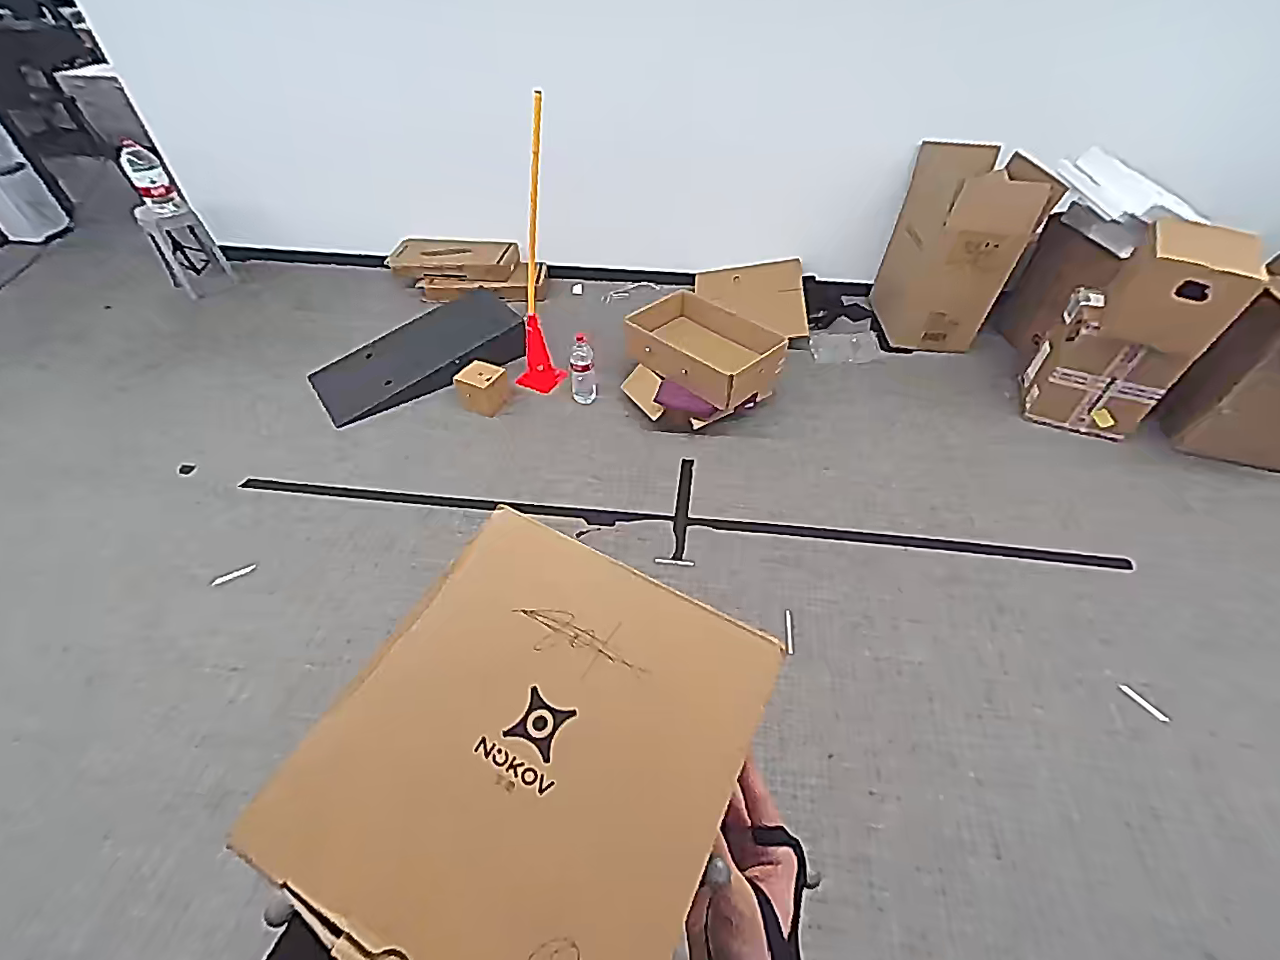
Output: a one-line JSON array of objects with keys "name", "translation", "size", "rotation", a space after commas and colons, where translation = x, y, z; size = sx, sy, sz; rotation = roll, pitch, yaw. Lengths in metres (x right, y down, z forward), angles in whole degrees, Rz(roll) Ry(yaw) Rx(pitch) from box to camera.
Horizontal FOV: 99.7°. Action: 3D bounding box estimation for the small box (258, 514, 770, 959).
[{"name": "small box", "translation": [-0.047, 0.158, 0.306], "size": [0.168, 0.176, 0.179], "rotation": [24, 55, 14]}]
